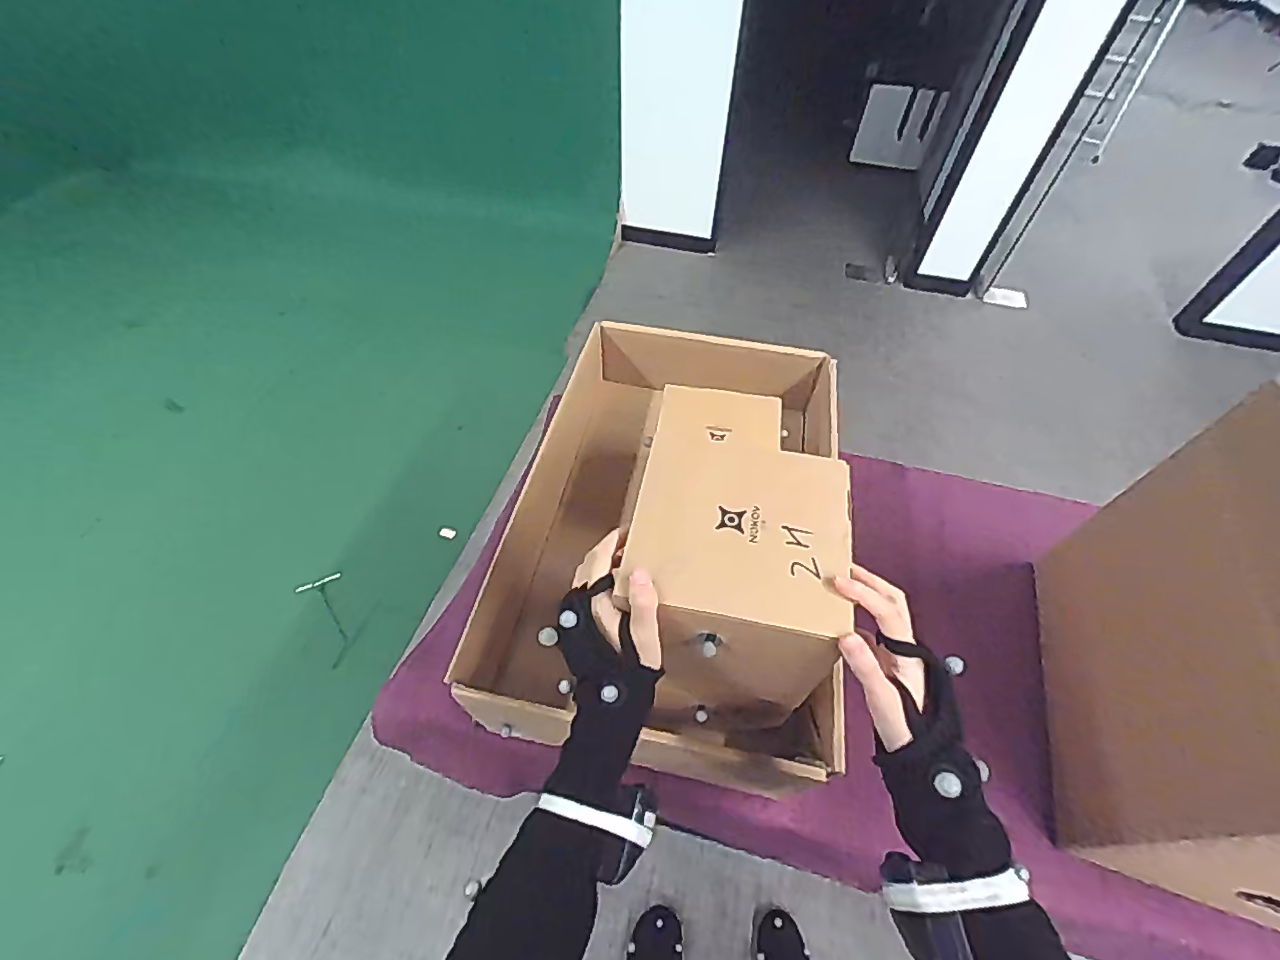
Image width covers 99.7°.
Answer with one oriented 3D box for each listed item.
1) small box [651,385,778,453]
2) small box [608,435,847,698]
[{"bbox_3d":[0.099,-0.009,0.775,0.168,0.176,0.179,7,54,6],"label":"small box"},{"bbox_3d":[0.078,0.084,0.498,0.179,0.176,0.168,10,55,7],"label":"small box"}]
